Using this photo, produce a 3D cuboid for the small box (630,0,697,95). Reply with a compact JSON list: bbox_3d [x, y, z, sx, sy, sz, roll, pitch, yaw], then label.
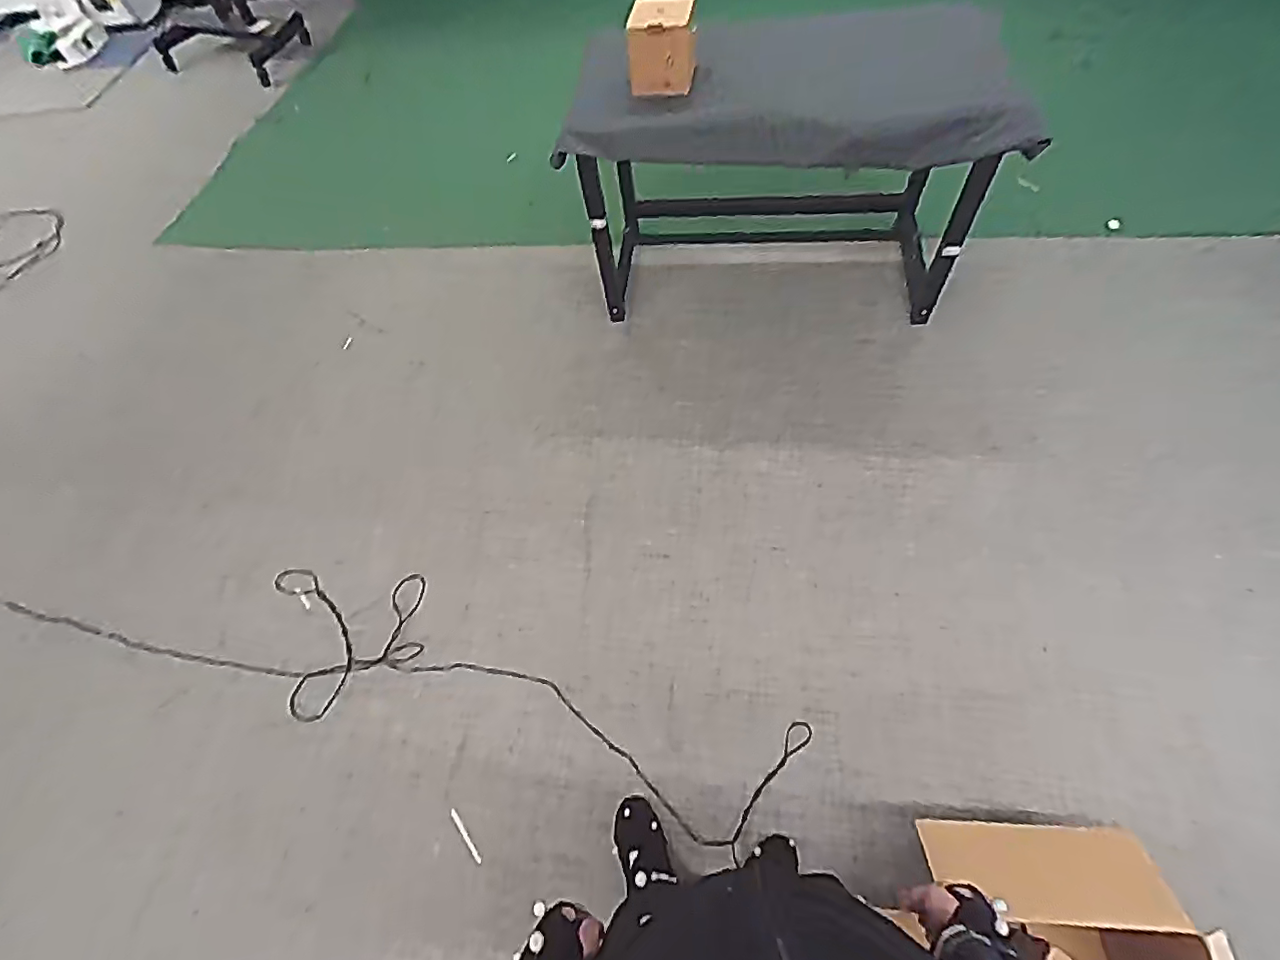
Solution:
[{"bbox_3d":[0.072,-1.220,1.529,0.168,0.176,0.179,6,60,8],"label":"small box"}]
